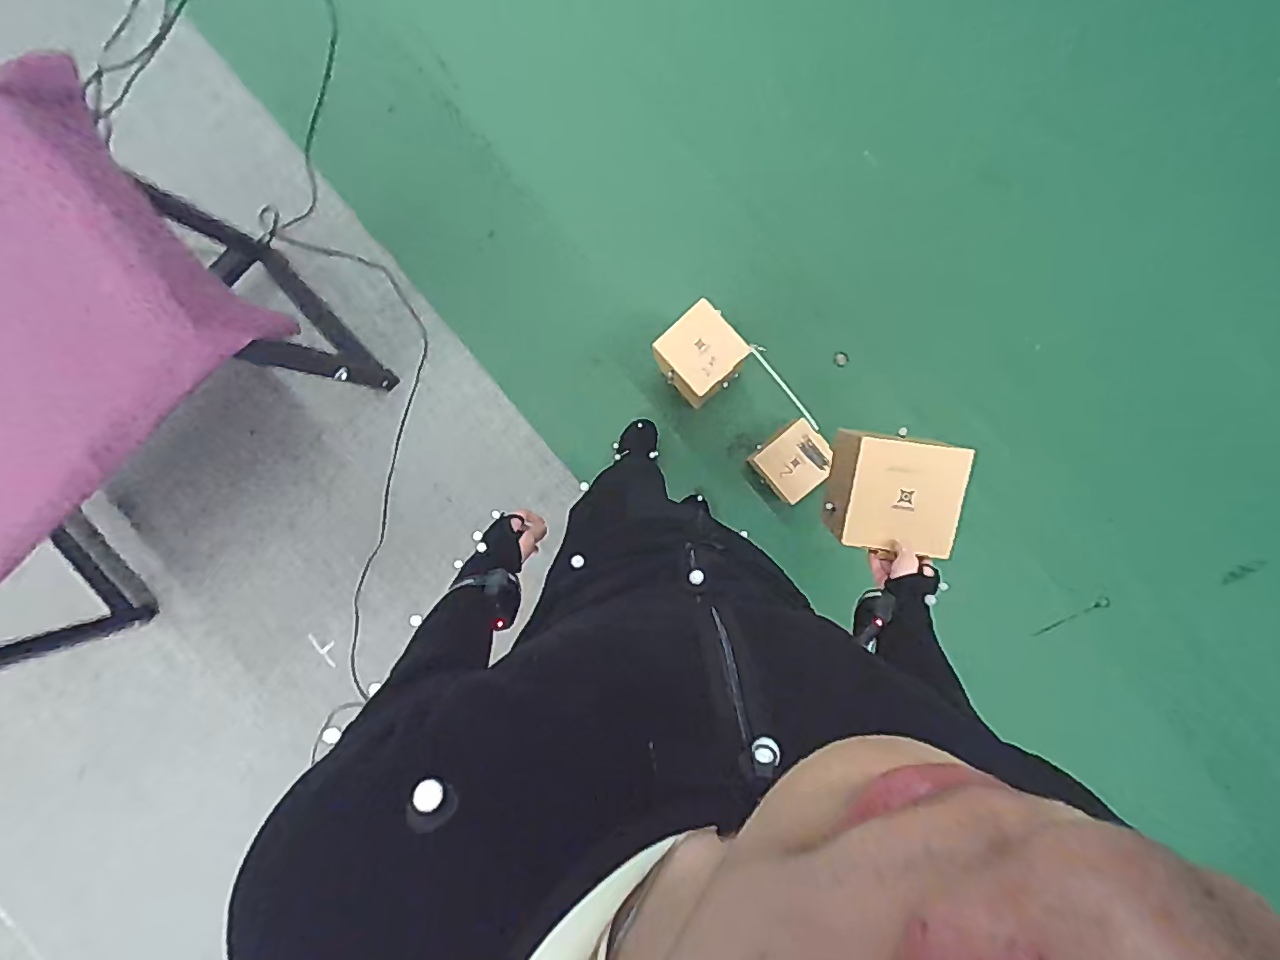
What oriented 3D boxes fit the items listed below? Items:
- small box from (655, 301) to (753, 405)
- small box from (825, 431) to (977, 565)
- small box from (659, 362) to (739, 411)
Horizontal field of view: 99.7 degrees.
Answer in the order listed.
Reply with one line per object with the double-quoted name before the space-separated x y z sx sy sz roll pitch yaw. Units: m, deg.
"small box" 0.155 -0.308 1.354 0.168 0.176 0.179 -41 88 4
"small box" 0.416 0.021 0.896 0.168 0.176 0.179 9 100 6
"small box" 0.174 -0.313 1.518 0.179 0.176 0.168 -42 88 4
